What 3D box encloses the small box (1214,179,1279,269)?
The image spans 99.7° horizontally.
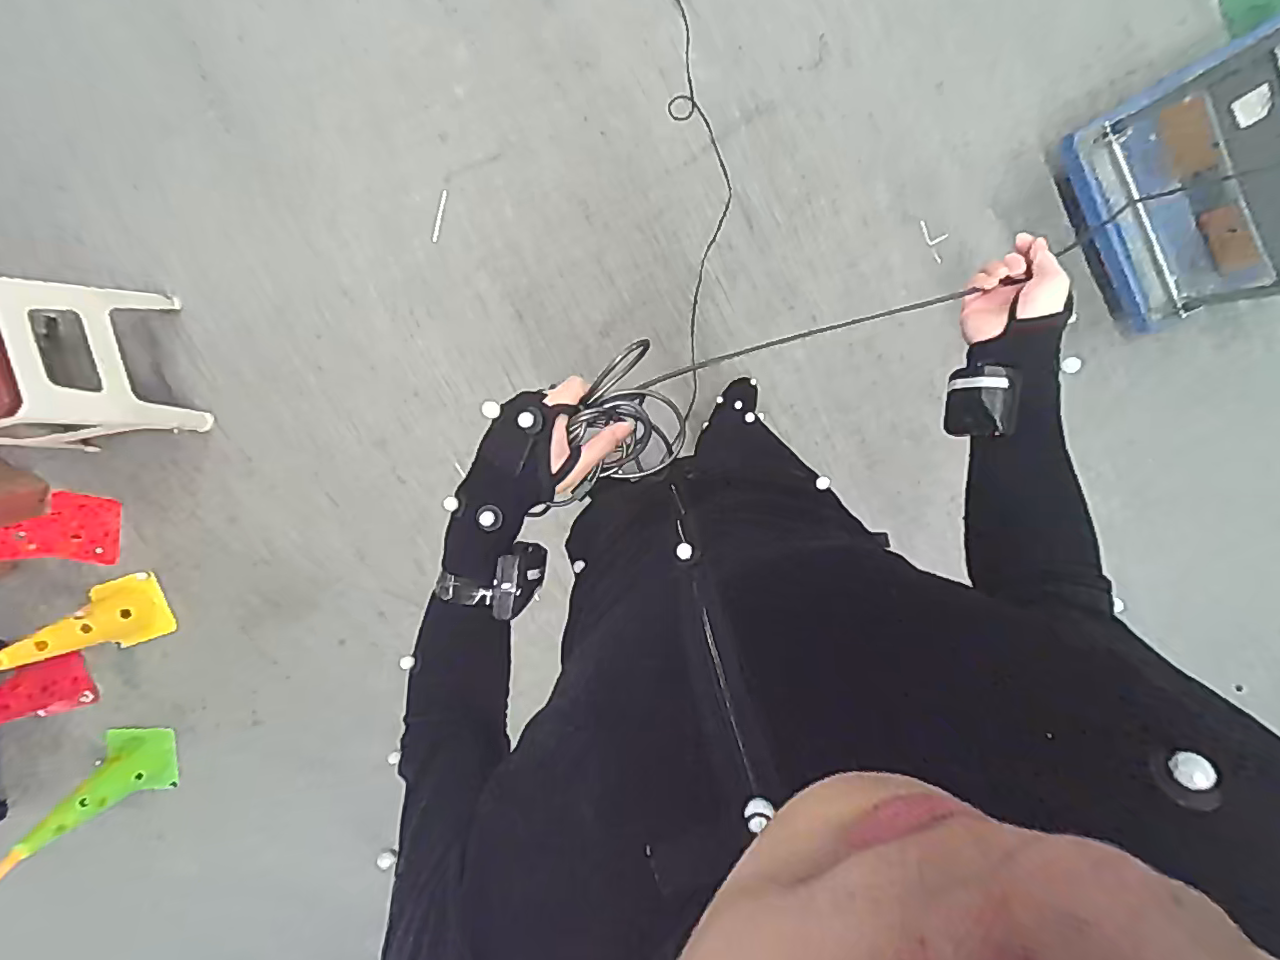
[{"bbox_3d":[1.576,-0.641,1.307,0.179,0.176,0.168,-28,96,3],"label":"small box"}]

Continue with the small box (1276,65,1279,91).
[{"bbox_3d":[1.675,-0.981,1.268,0.179,0.176,0.168,-33,97,3],"label":"small box"}]
